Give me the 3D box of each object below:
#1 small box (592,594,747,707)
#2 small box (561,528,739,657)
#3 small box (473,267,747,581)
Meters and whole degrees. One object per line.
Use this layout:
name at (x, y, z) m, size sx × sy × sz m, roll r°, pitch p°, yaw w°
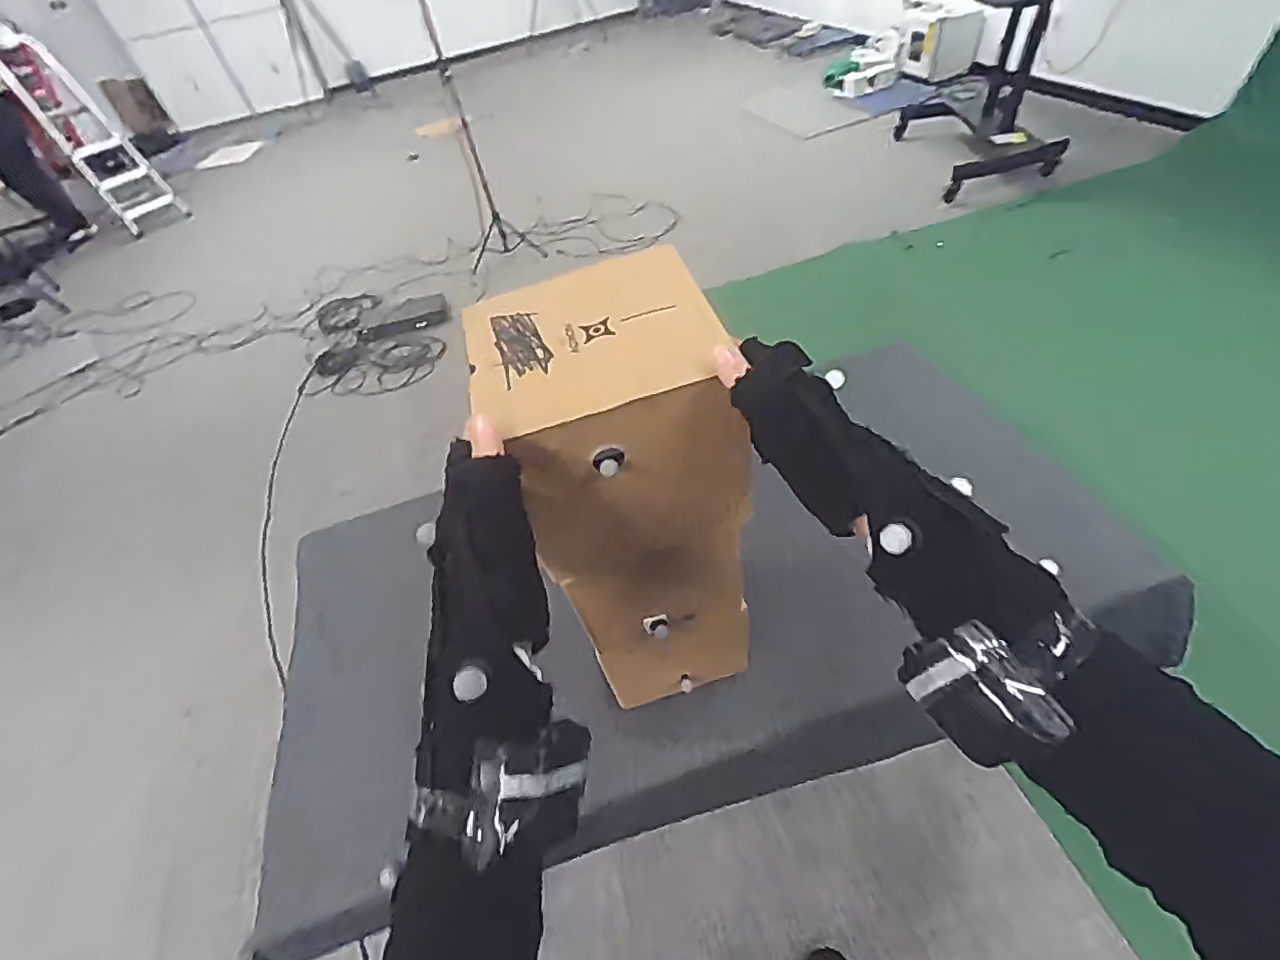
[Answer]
small box at (0.026, 0.168, 0.708) m, size 0.179 × 0.176 × 0.168 m, roll -17°, pitch 47°, yaw -5°
small box at (-0.002, 0.060, 0.590) m, size 0.168 × 0.176 × 0.179 m, roll -20°, pitch 49°, yaw -4°
small box at (-0.020, -0.039, 0.450) m, size 0.179 × 0.176 × 0.168 m, roll -17°, pitch 52°, yaw -2°
